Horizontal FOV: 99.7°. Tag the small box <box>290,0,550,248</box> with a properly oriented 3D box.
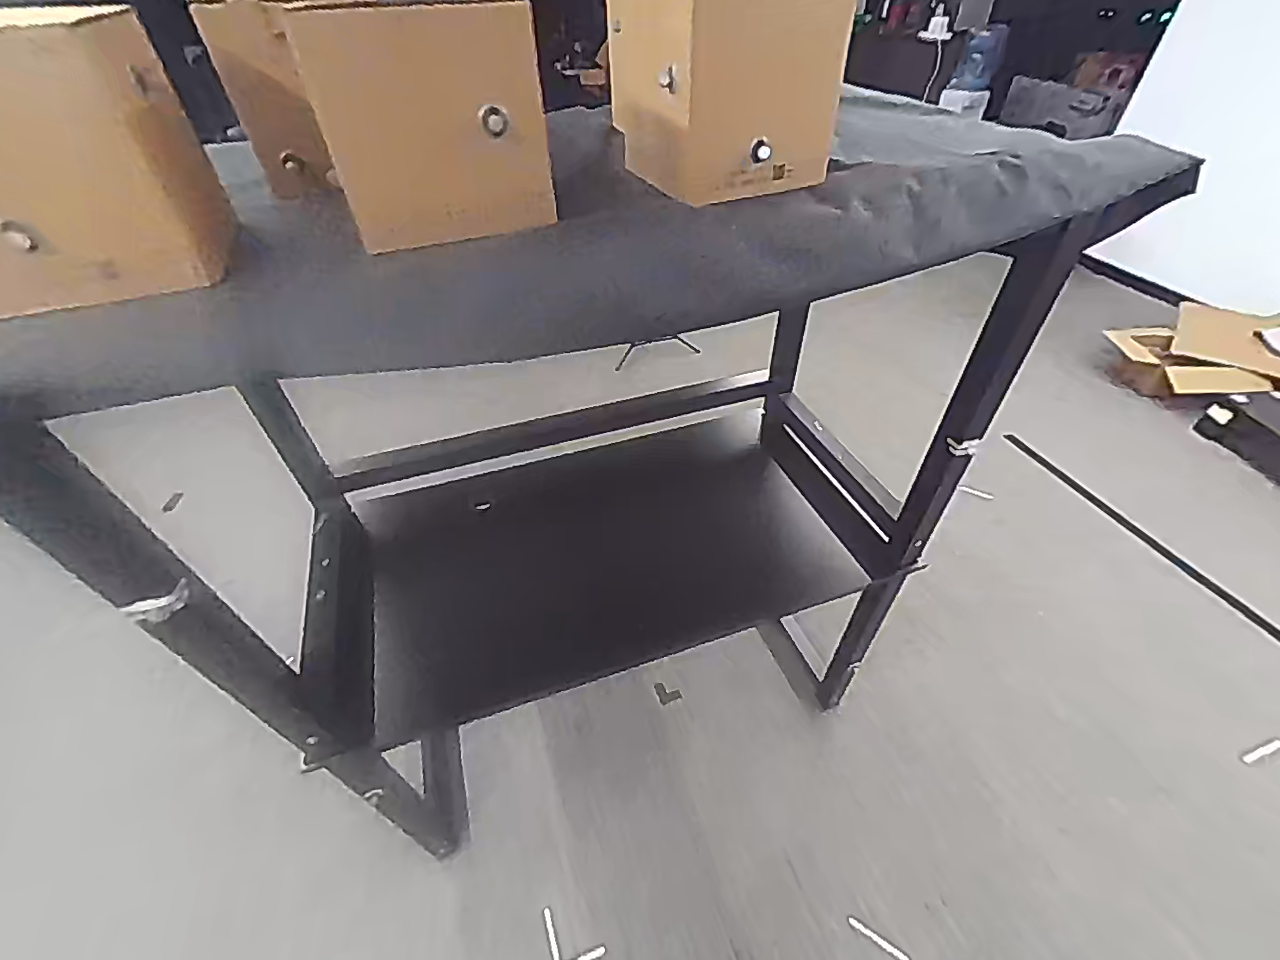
[{"bbox_3d":[-0.187,-0.331,0.498,0.179,0.176,0.168,-15,43,-16],"label":"small box"}]

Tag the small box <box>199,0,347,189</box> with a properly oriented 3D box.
[{"bbox_3d":[-0.357,-0.452,0.630,0.168,0.176,0.179,-14,44,-13],"label":"small box"}]

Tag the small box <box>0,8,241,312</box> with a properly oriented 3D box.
[{"bbox_3d":[-0.448,-0.253,0.422,0.168,0.176,0.179,-17,46,-16],"label":"small box"}]

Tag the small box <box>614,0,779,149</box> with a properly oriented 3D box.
[{"bbox_3d":[0.065,-0.564,0.732,0.168,0.176,0.179,-15,45,-12],"label":"small box"}]
